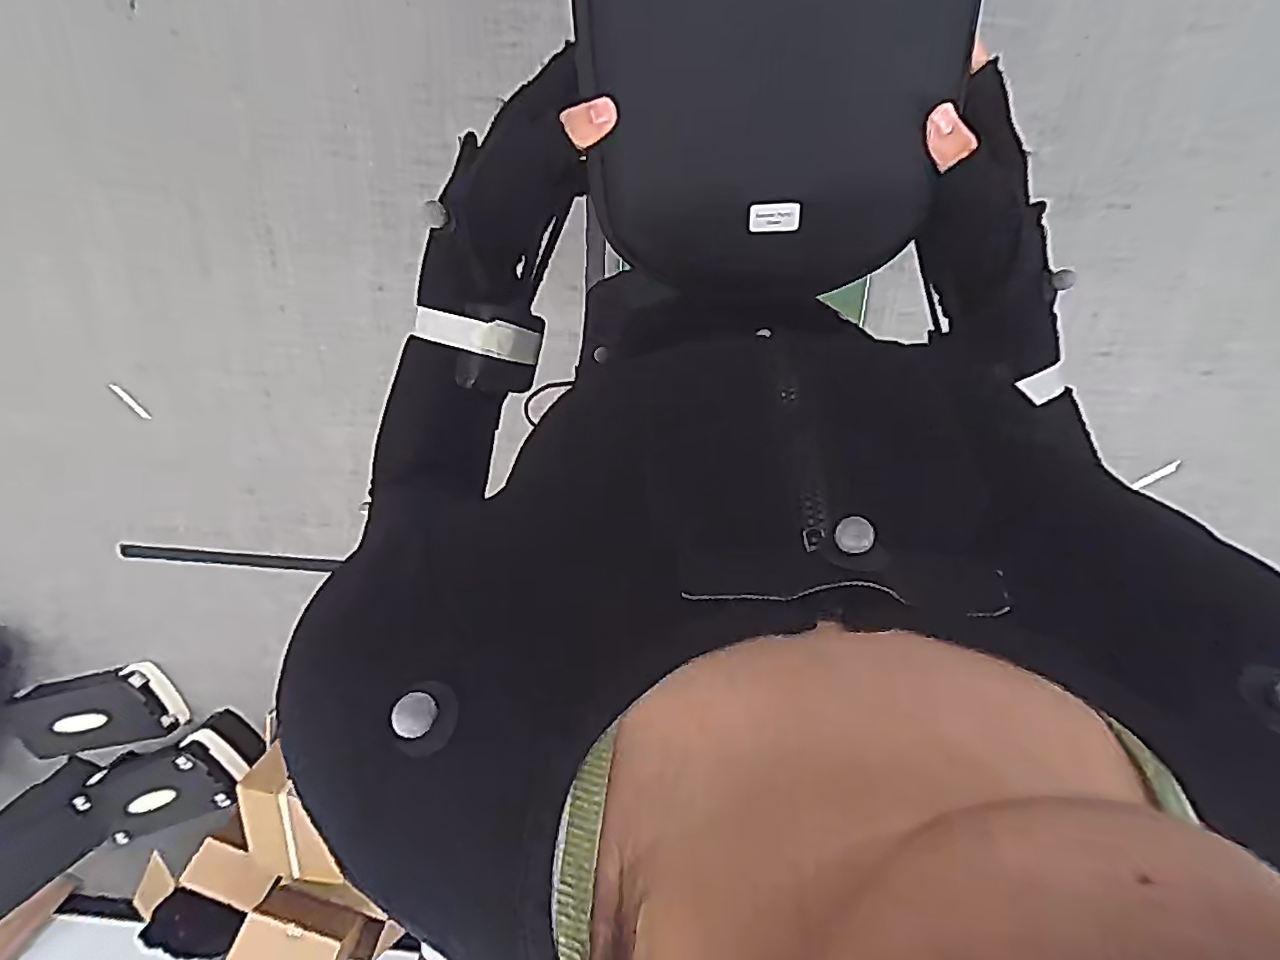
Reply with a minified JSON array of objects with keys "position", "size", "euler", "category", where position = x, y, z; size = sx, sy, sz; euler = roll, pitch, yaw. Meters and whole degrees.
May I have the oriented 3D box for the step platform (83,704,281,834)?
[{"position":[-1.761,1.117,2.077],"size":[0.684,0.204,0.286],"euler":[-25,108,13],"category":"step platform"}]
